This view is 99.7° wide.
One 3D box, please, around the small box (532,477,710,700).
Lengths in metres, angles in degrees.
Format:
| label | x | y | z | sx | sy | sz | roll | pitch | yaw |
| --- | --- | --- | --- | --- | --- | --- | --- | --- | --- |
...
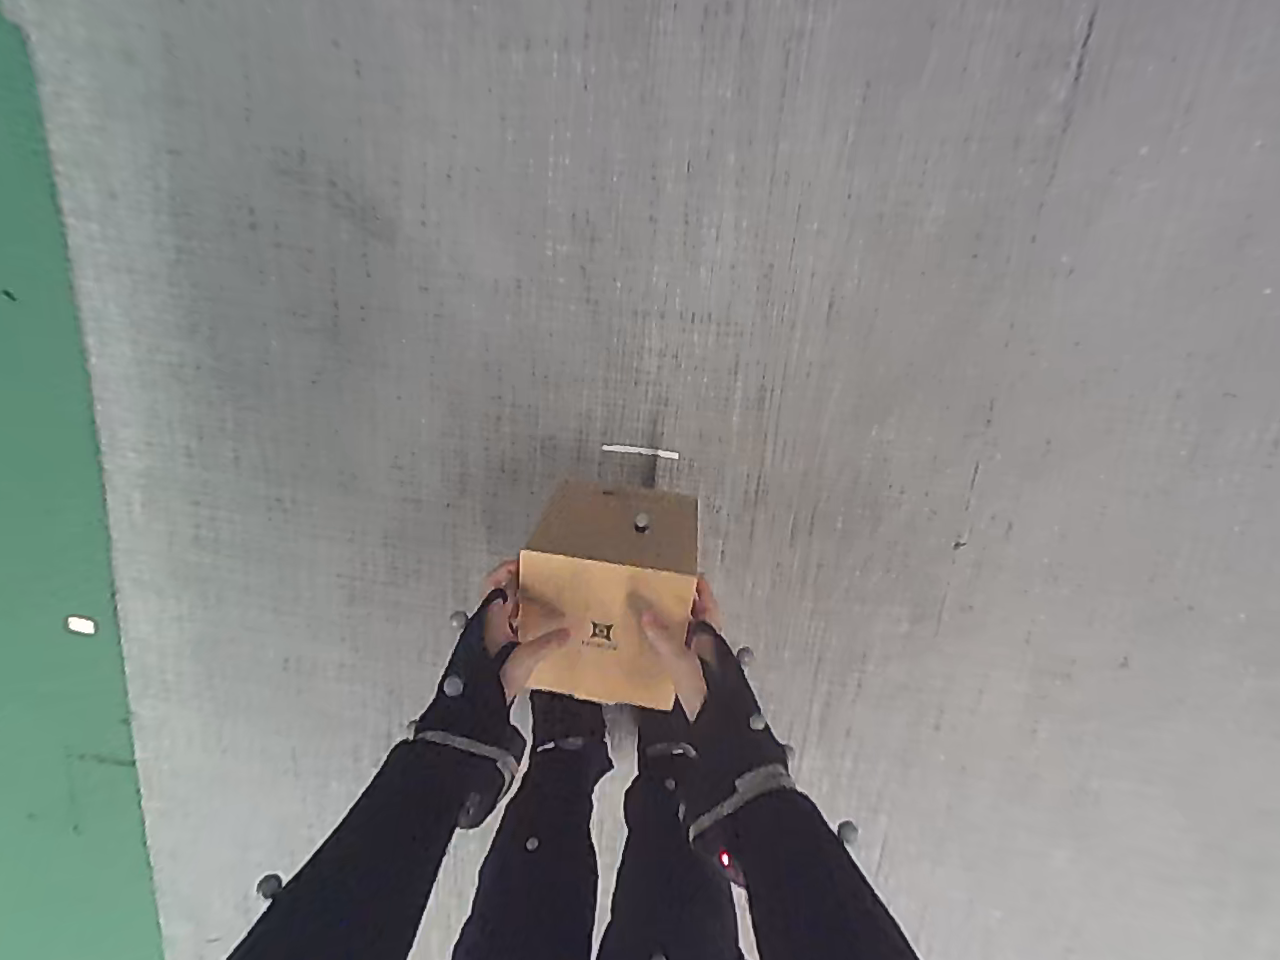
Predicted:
| label | x | y | z | sx | sy | sz | roll | pitch | yaw |
| --- | --- | --- | --- | --- | --- | --- | --- | --- | --- |
| small box | -0.019 | 0.114 | 0.618 | 0.168 | 0.176 | 0.179 | 9 | 117 | 2 |
